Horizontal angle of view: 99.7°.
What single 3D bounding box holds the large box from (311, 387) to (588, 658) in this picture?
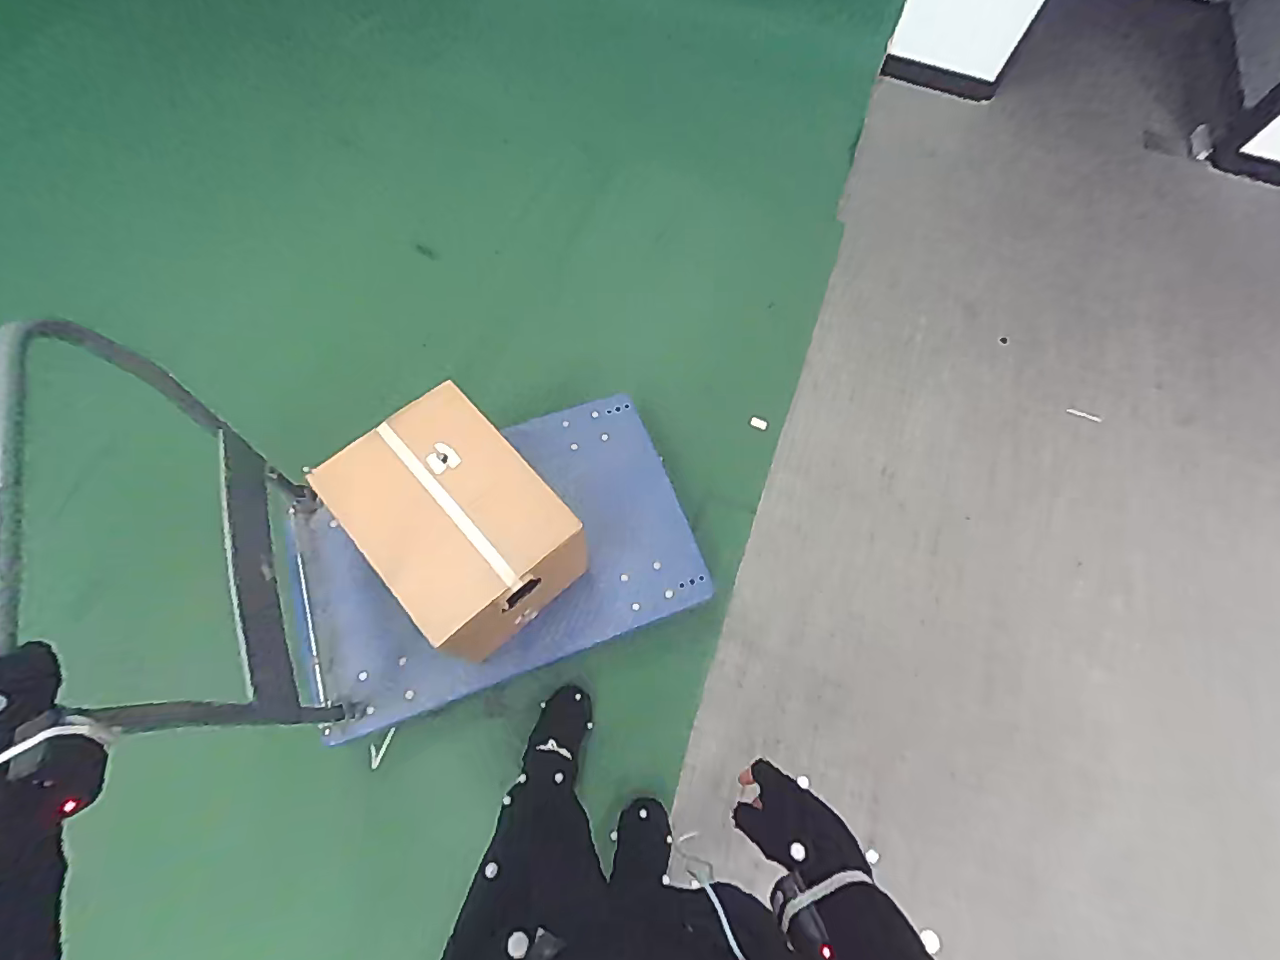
[{"bbox_3d":[-0.356,0.099,1.108,0.320,0.320,0.408,-40,74,-18],"label":"large box"}]
